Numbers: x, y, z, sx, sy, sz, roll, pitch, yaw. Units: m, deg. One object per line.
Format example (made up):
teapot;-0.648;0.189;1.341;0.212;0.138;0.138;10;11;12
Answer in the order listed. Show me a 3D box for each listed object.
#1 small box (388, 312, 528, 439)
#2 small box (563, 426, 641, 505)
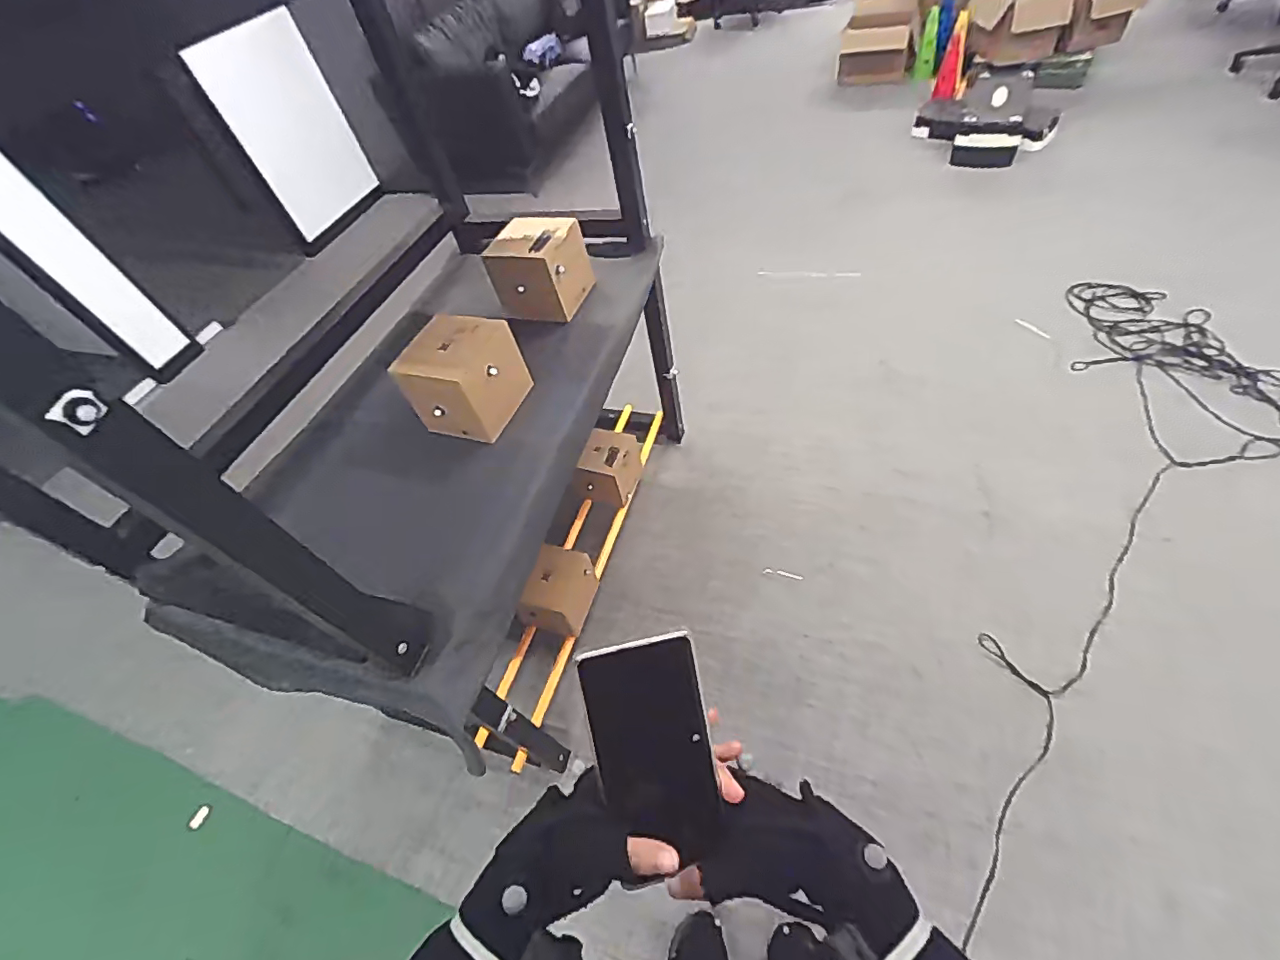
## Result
small box;-0.343;-0.203;1.061;0.168;0.176;0.179;12;56;20
small box;-0.111;-0.040;1.687;0.179;0.176;0.168;12;56;20
